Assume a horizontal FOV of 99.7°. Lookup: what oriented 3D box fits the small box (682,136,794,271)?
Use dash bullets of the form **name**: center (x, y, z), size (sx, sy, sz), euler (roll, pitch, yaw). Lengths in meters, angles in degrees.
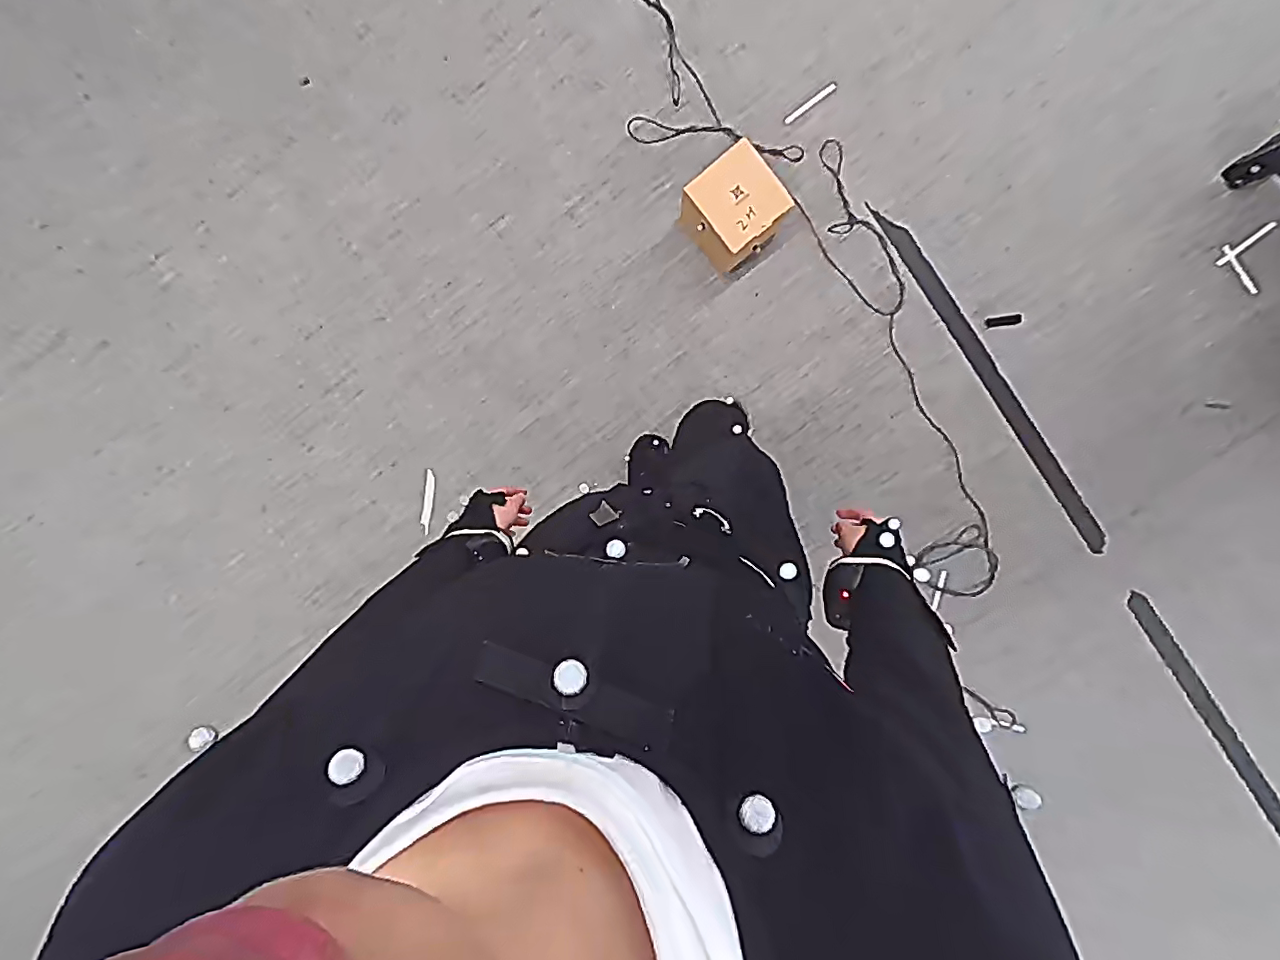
- **small box**: center (0.207, -0.599, 1.199), size (0.168, 0.176, 0.179), euler (-38, 94, 5)
